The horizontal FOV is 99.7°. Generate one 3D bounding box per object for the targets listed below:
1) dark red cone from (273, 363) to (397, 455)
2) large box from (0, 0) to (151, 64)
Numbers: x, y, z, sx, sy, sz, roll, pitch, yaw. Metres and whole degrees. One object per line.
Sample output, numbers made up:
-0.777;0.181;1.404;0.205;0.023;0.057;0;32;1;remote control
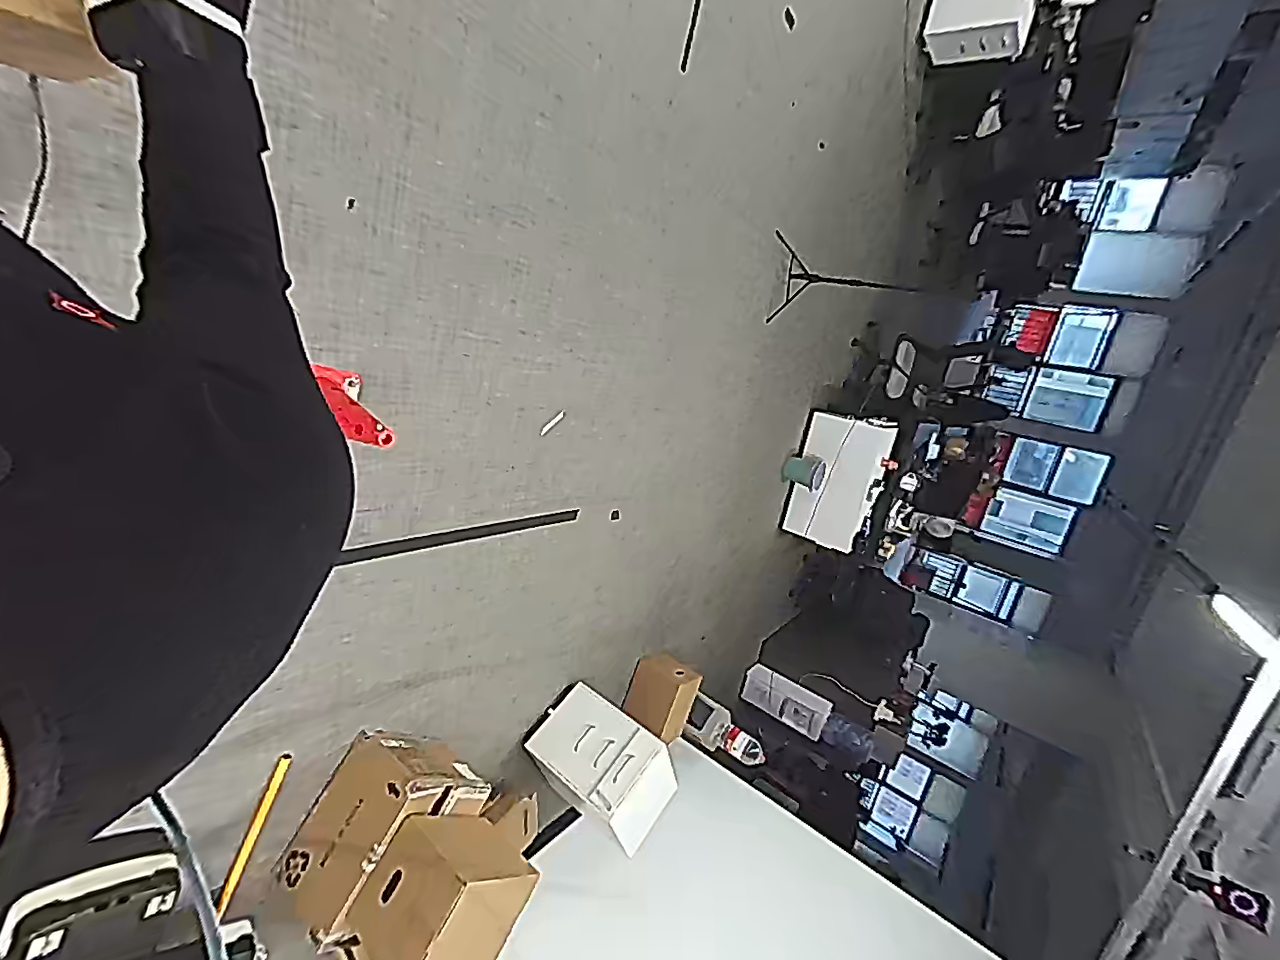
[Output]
-0.691;-0.135;1.286;0.201;0.394;0.202;4;105;-54;dark red cone
-0.553;-0.469;0.255;0.408;0.320;0.320;-14;122;-52;large box
